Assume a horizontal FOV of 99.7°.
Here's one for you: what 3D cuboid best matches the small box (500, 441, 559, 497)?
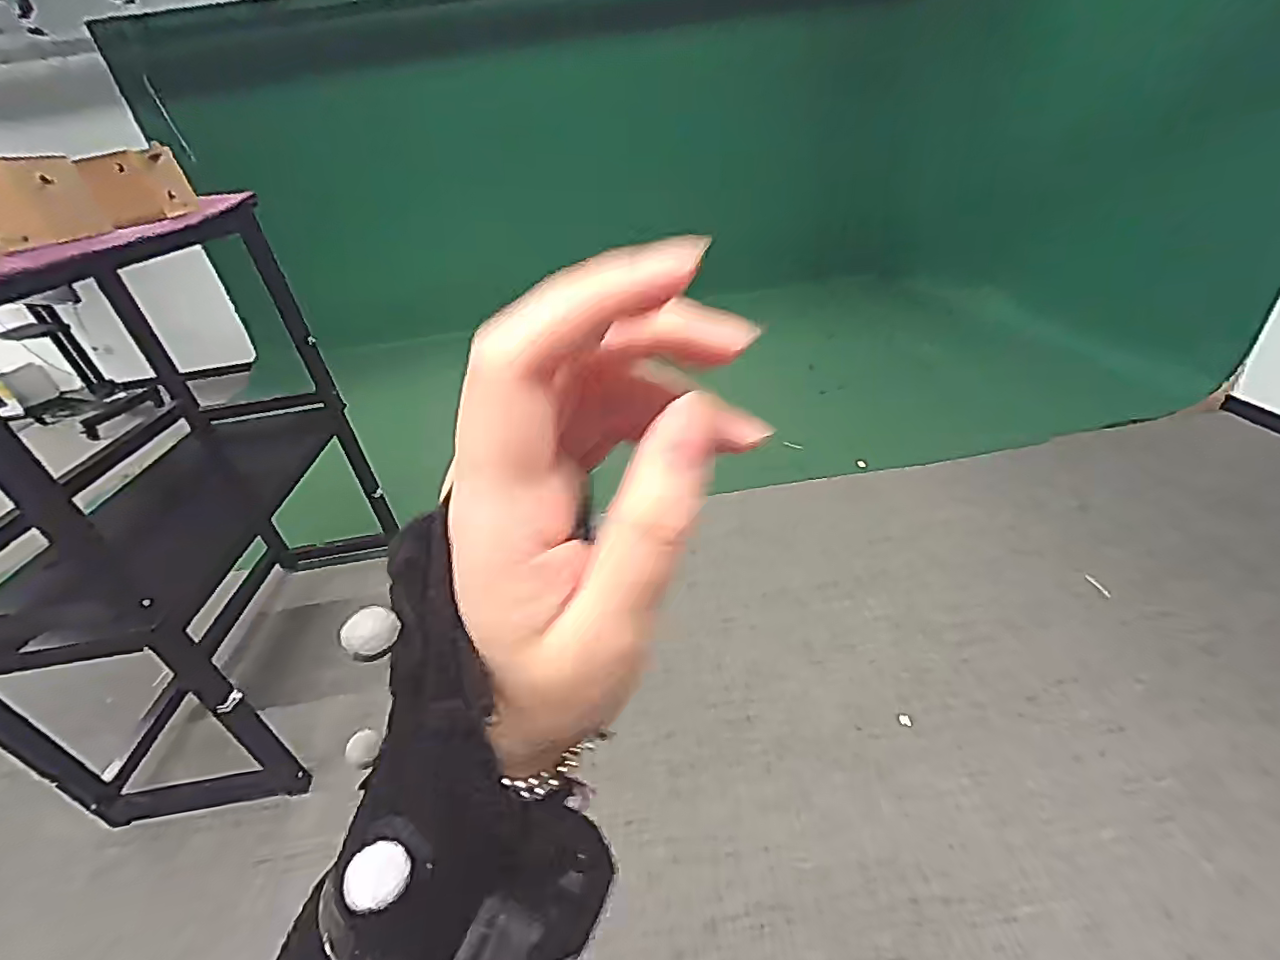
[{"bbox_3d":[-0.447,-0.043,2.215,0.179,0.176,0.168,-5,34,7],"label":"small box"}]

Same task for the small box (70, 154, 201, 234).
[{"bbox_3d":[-1.411,-0.805,1.525,0.179,0.176,0.168,-9,34,2],"label":"small box"}]

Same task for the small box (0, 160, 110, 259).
[{"bbox_3d":[-1.381,-0.609,1.224,0.168,0.176,0.179,-10,32,0],"label":"small box"}]
